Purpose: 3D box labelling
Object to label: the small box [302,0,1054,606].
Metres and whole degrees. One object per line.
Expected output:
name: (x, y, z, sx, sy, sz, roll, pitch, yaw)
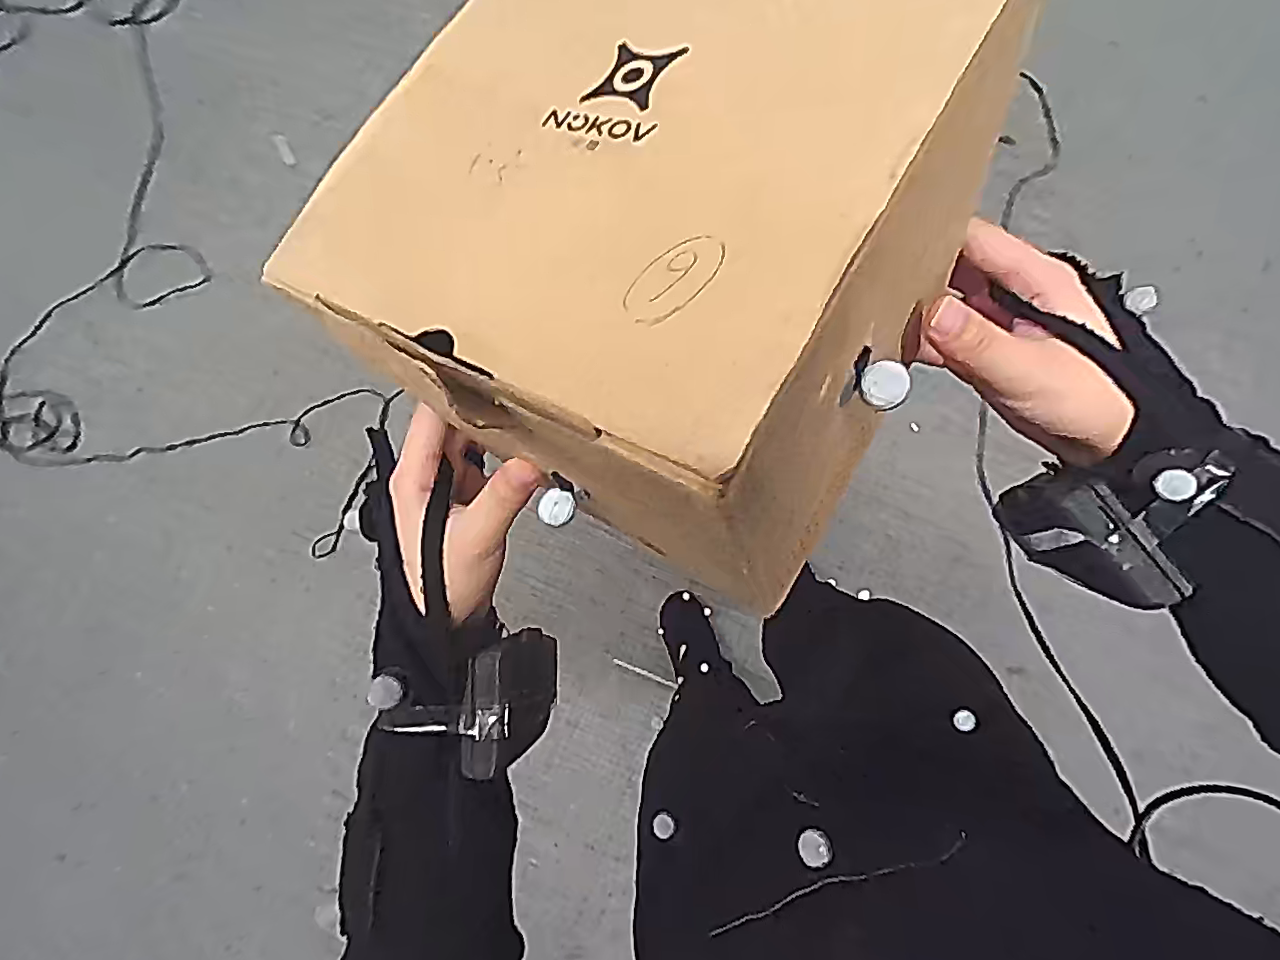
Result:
small box: (0.021, -0.067, 0.225, 0.168, 0.176, 0.179, 28, 80, 25)
